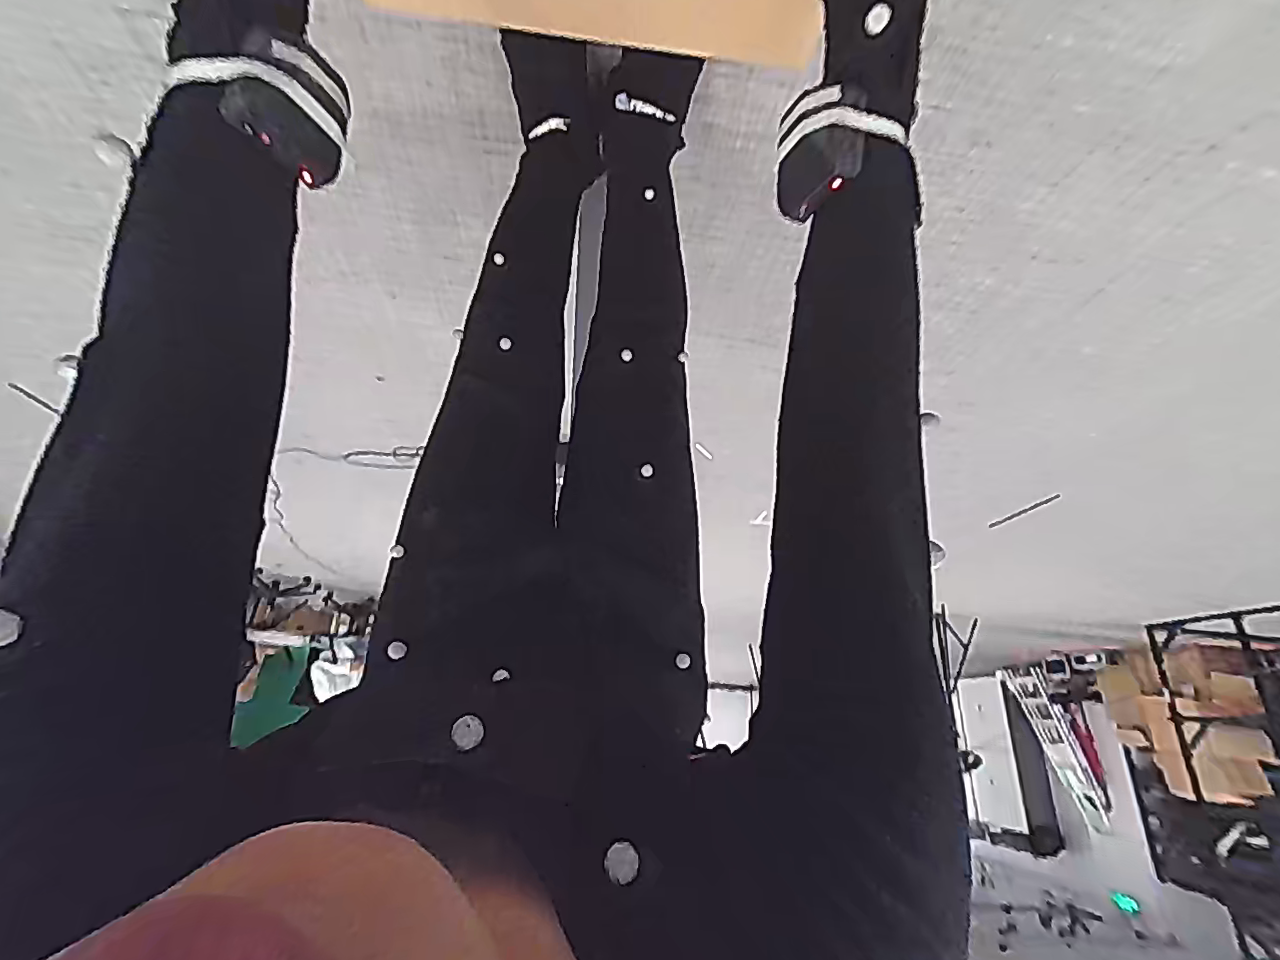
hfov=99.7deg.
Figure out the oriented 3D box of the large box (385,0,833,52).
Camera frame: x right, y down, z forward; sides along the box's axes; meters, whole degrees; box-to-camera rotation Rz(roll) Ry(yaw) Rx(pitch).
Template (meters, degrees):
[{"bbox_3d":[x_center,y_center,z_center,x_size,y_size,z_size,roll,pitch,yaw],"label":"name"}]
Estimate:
[{"bbox_3d":[-0.017,-0.607,0.411,0.408,0.320,0.320,4,158,-4],"label":"large box"}]
